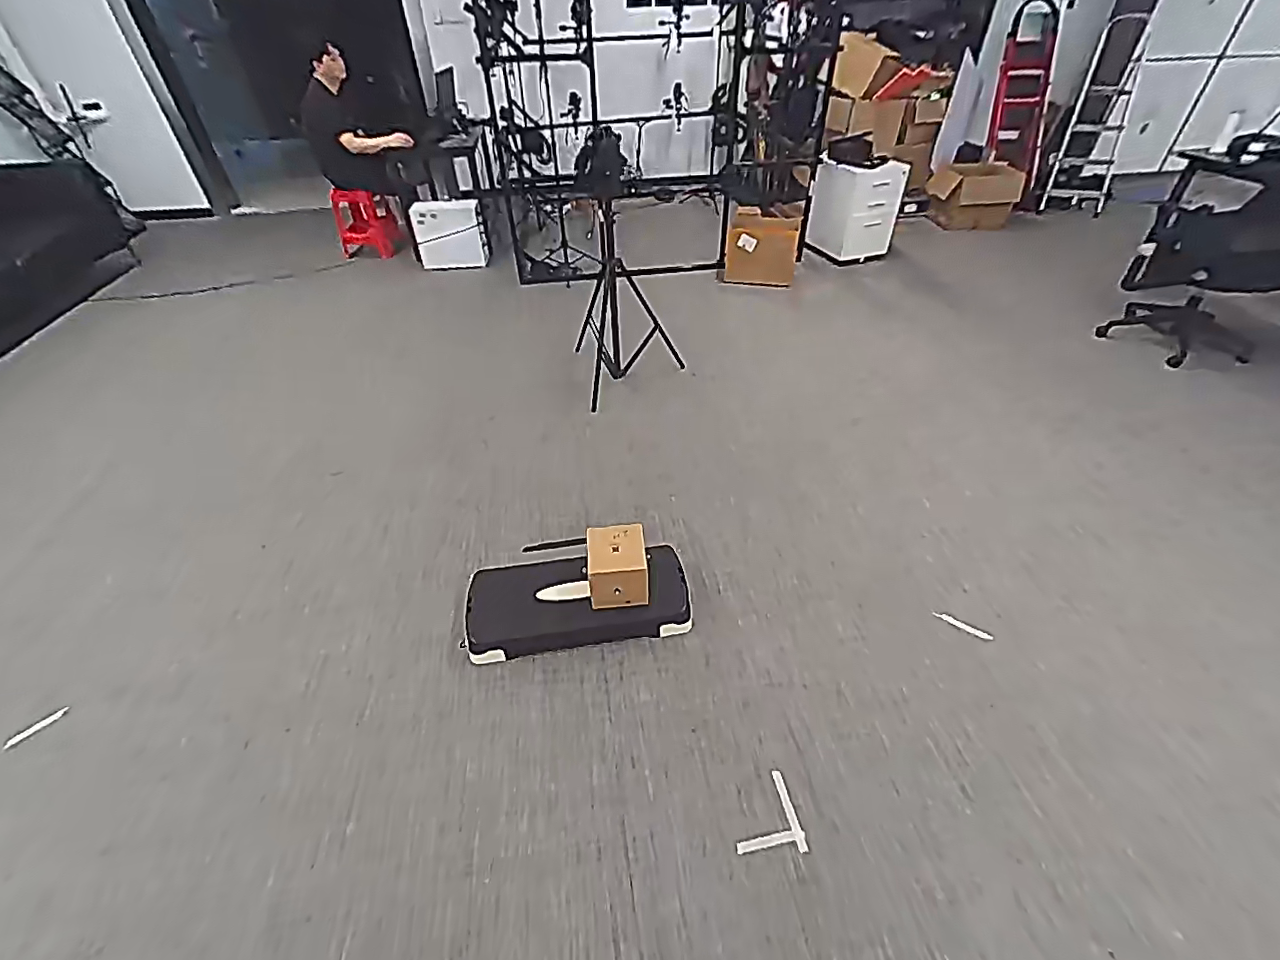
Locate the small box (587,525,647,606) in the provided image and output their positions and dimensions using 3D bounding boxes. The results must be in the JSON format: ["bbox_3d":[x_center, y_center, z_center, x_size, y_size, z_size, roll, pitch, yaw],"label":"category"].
[{"bbox_3d":[-0.068,0.256,1.591,0.168,0.176,0.179,-4,41,-3],"label":"small box"}]
